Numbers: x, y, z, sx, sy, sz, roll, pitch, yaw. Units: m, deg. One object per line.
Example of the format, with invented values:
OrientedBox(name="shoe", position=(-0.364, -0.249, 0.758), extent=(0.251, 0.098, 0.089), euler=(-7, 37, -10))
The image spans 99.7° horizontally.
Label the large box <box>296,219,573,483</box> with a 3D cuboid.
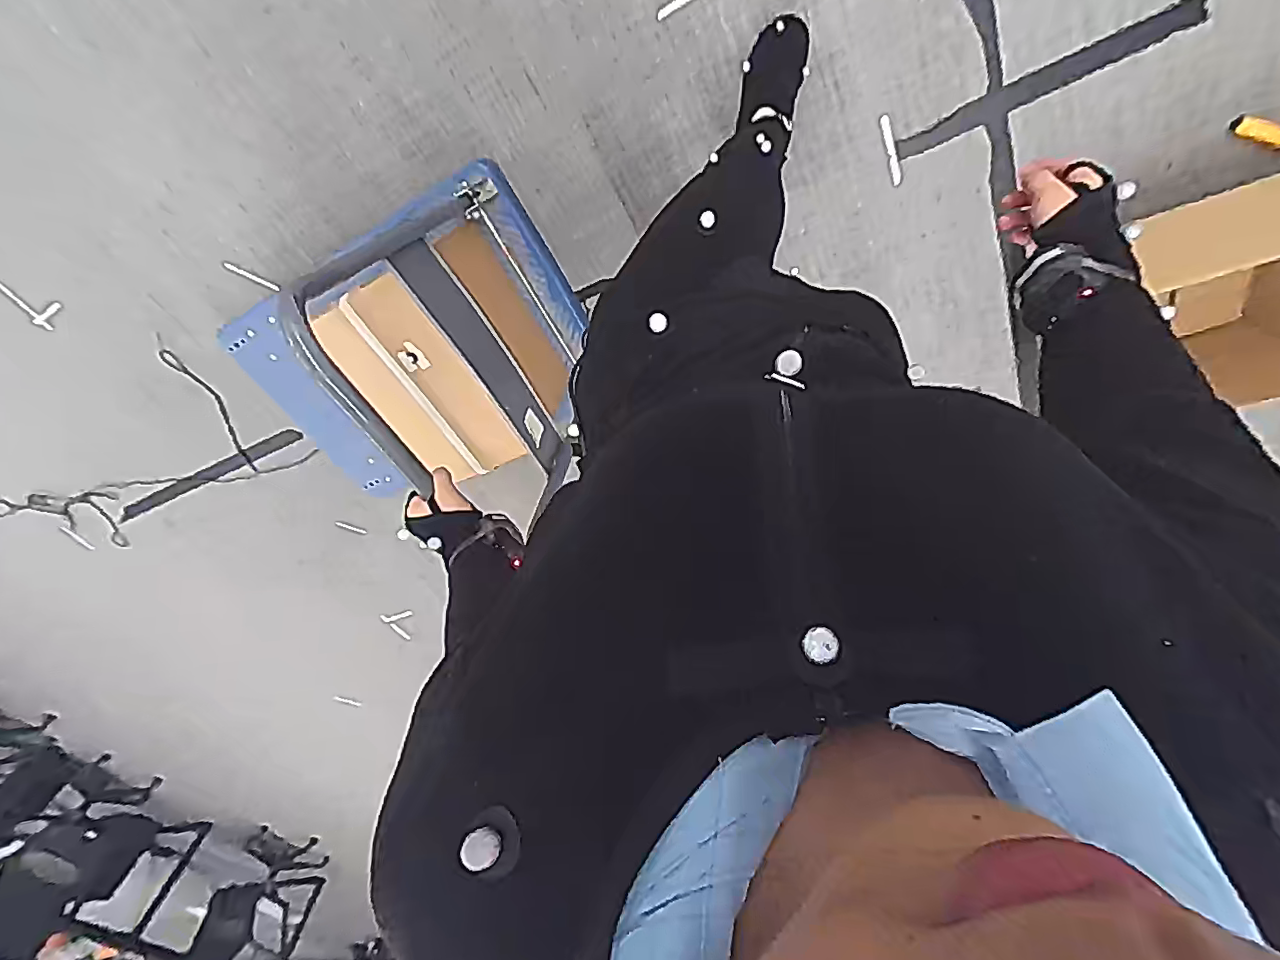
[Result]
OrientedBox(name="large box", position=(-0.399, -0.271, 1.164), extent=(0.320, 0.320, 0.408), euler=(-20, 122, 20))
